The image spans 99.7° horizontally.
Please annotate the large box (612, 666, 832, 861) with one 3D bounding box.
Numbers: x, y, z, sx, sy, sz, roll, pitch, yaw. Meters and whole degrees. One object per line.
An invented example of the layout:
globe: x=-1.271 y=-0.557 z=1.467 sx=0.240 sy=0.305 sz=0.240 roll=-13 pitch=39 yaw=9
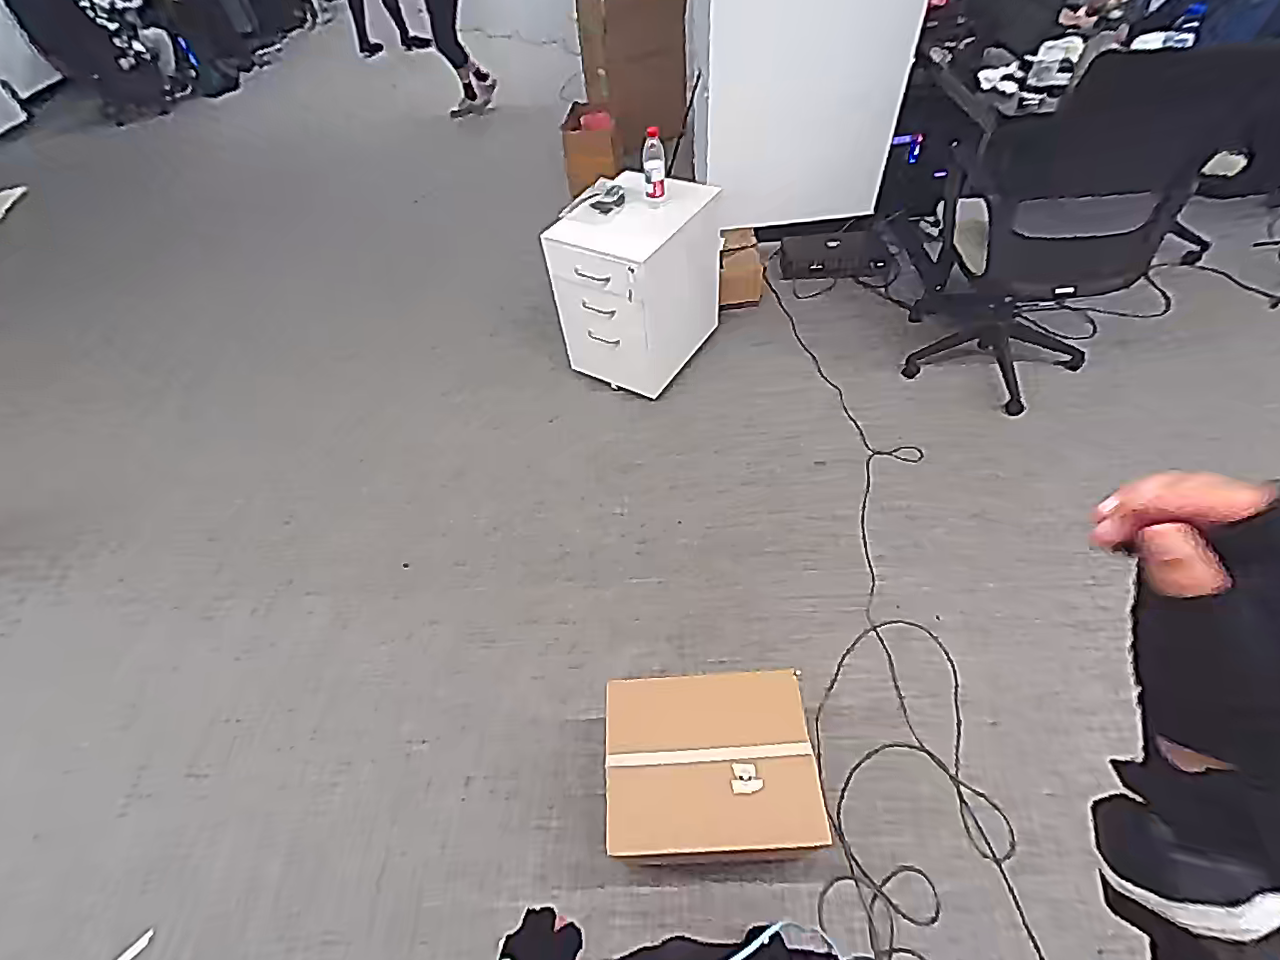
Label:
large box: x=0.154 y=0.625 z=1.184 sx=0.408 sy=0.320 sz=0.320 roll=-4 pitch=52 yaw=2
